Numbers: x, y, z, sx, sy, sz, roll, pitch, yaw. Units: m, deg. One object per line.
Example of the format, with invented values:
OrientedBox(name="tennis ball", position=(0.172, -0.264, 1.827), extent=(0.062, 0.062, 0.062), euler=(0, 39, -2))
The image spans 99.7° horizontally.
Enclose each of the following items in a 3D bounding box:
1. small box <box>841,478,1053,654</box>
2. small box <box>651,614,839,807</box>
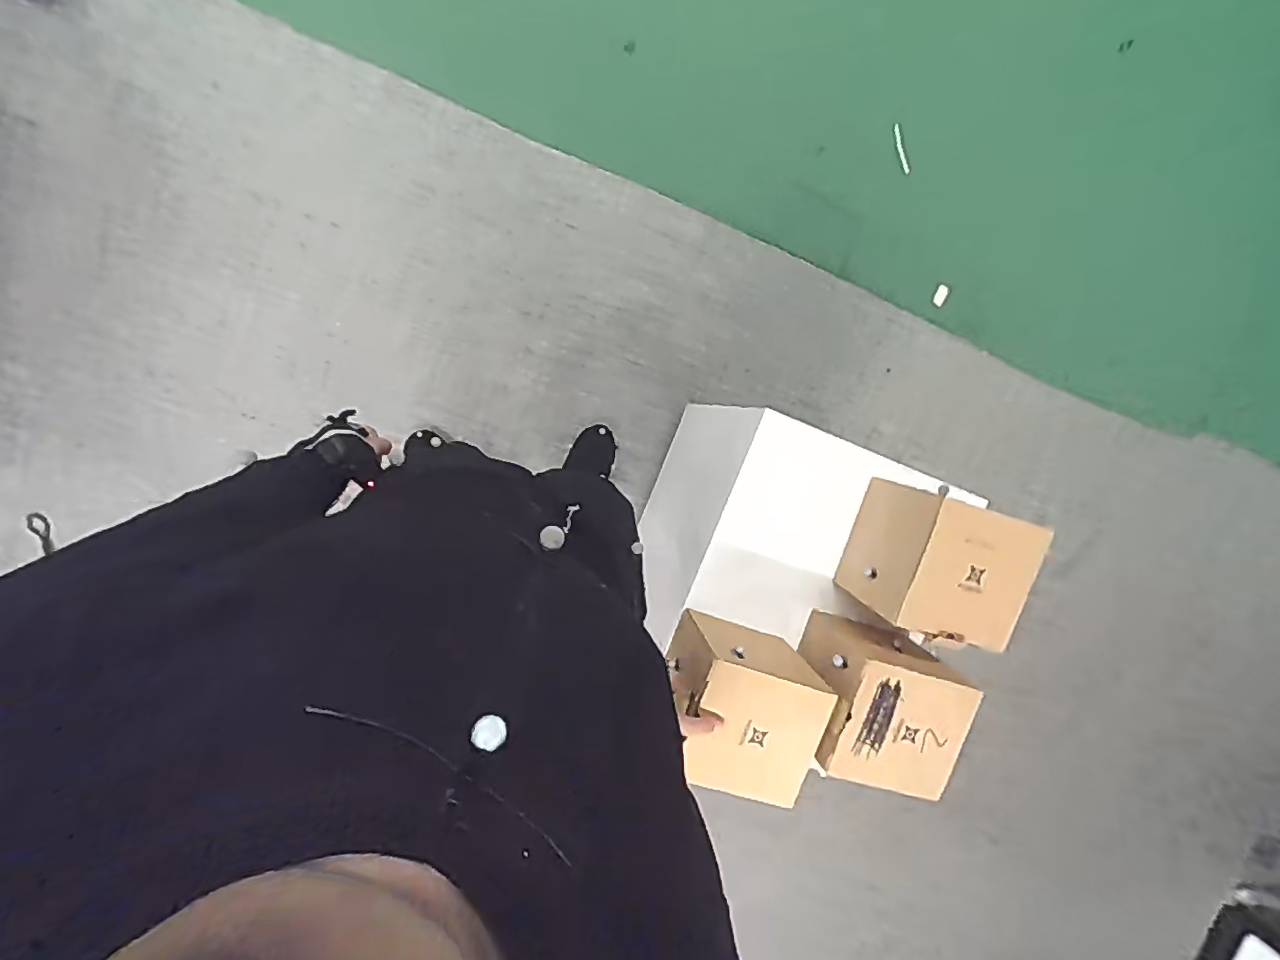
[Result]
OrientedBox(name="small box", position=(0.410, 0.110, 0.756), extent=(0.168, 0.176, 0.179), euler=(17, 96, -10))
OrientedBox(name="small box", position=(0.132, 0.306, 0.748), extent=(0.179, 0.176, 0.168), euler=(20, 94, -10))
